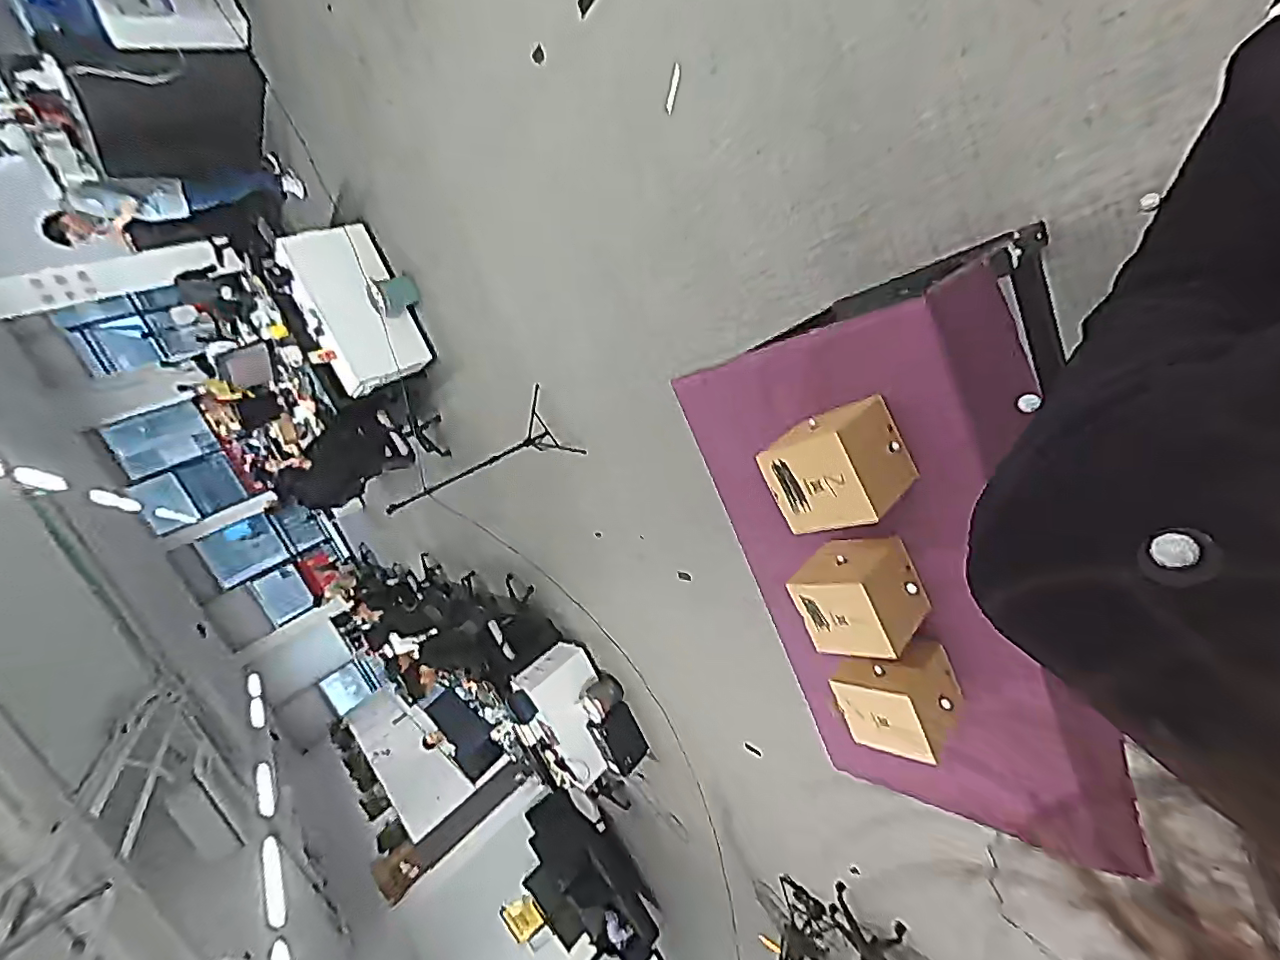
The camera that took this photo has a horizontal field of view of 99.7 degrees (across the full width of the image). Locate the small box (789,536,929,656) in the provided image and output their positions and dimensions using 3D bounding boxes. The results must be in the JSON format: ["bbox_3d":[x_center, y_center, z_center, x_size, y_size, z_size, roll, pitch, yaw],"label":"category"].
[{"bbox_3d":[0.440,0.226,1.085,0.179,0.176,0.168,-16,104,54],"label":"small box"}]

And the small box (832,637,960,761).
[{"bbox_3d":[0.542,0.440,1.131,0.179,0.176,0.168,-10,109,54],"label":"small box"}]
